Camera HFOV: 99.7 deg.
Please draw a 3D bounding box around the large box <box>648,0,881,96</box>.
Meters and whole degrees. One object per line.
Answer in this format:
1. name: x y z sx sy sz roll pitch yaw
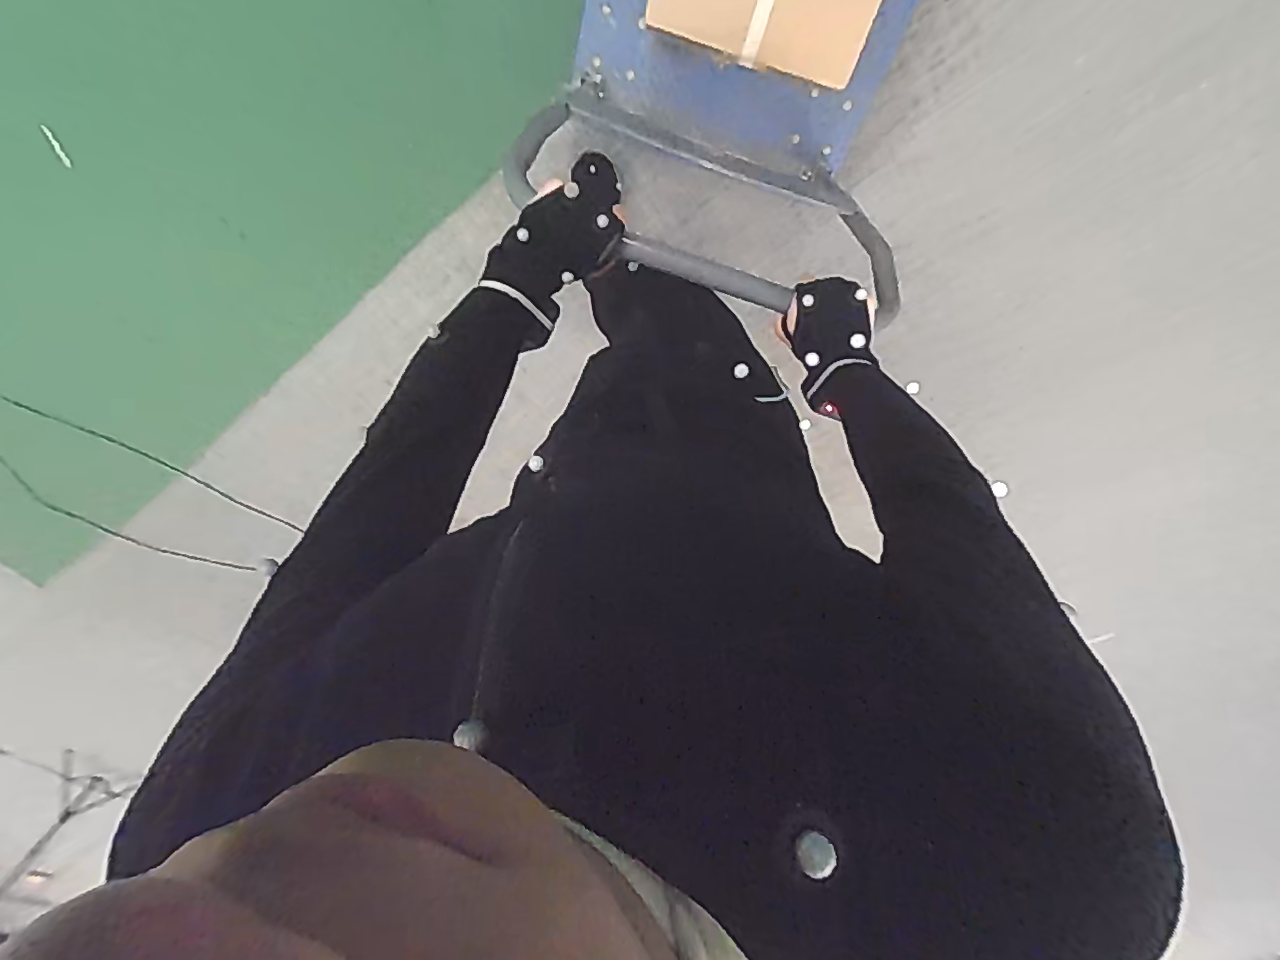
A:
1. large box: 0.215 -0.850 0.802 0.320 0.320 0.408 14 127 -6
